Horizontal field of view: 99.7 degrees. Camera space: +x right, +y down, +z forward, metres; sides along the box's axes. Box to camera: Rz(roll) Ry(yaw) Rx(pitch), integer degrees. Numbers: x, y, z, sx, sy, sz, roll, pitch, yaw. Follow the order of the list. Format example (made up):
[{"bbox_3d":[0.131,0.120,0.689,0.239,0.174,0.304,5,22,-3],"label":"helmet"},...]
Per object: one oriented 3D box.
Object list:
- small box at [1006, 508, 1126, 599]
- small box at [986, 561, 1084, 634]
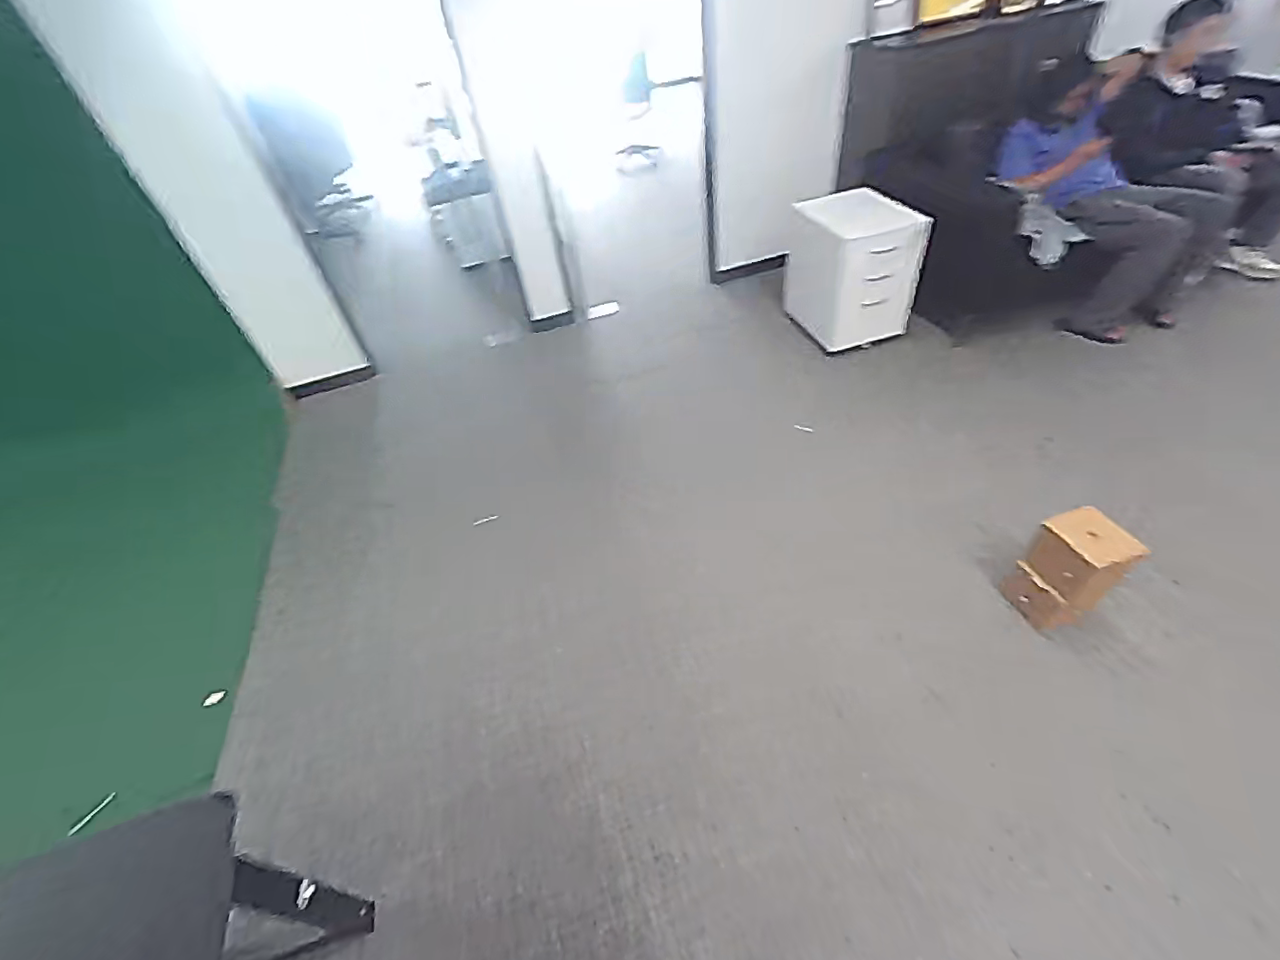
[{"bbox_3d":[1.193,0.215,1.530,0.168,0.176,0.179,-16,43,-11],"label":"small box"},{"bbox_3d":[1.202,0.343,1.659,0.179,0.176,0.168,-17,44,-11],"label":"small box"}]
